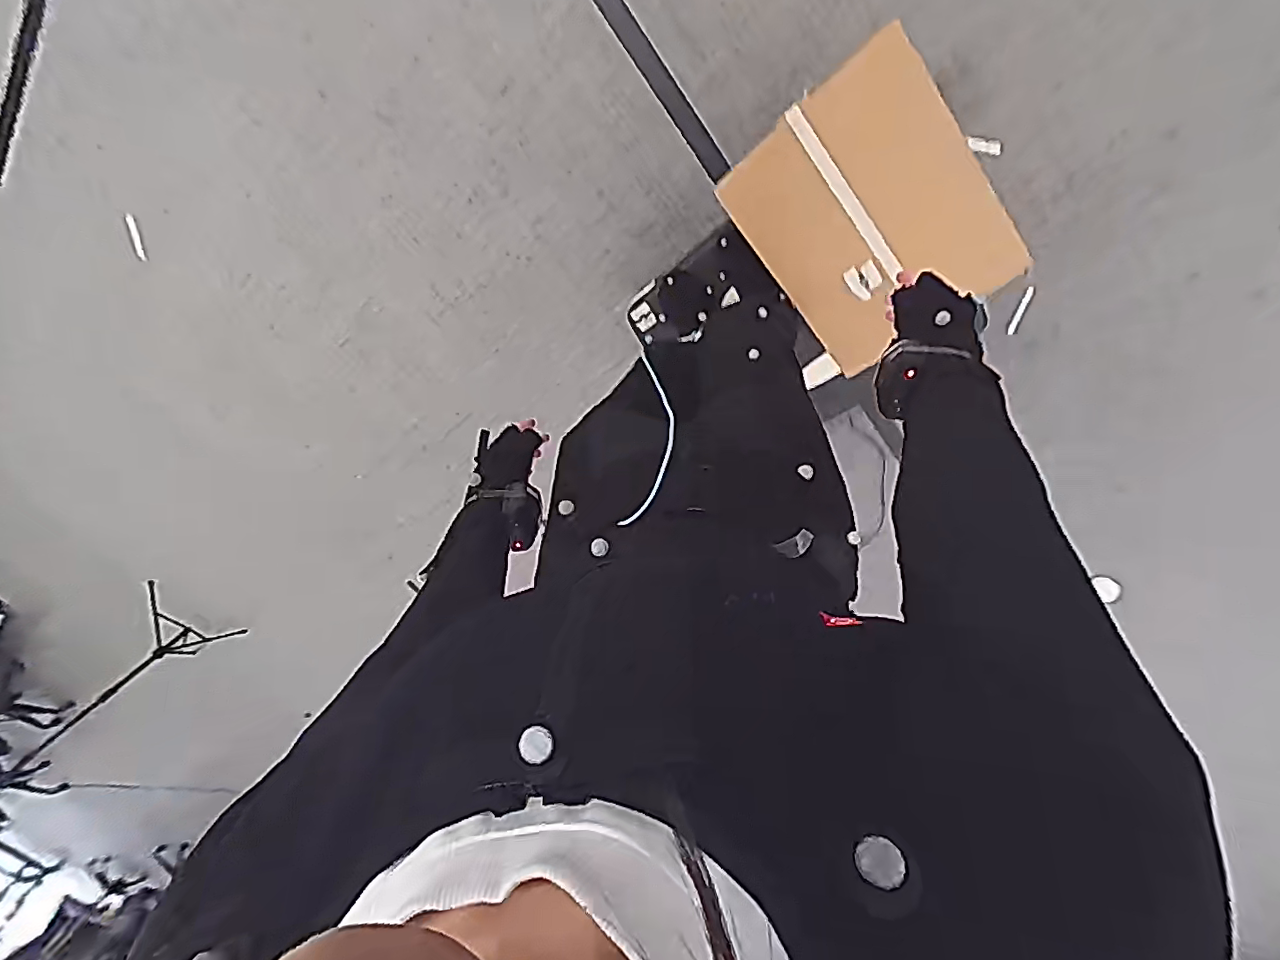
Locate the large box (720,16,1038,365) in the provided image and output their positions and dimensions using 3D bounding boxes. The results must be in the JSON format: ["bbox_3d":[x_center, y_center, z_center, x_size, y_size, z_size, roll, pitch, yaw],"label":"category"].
[{"bbox_3d":[0.401,-0.494,0.960,0.320,0.320,0.408,-32,110,35],"label":"large box"}]
